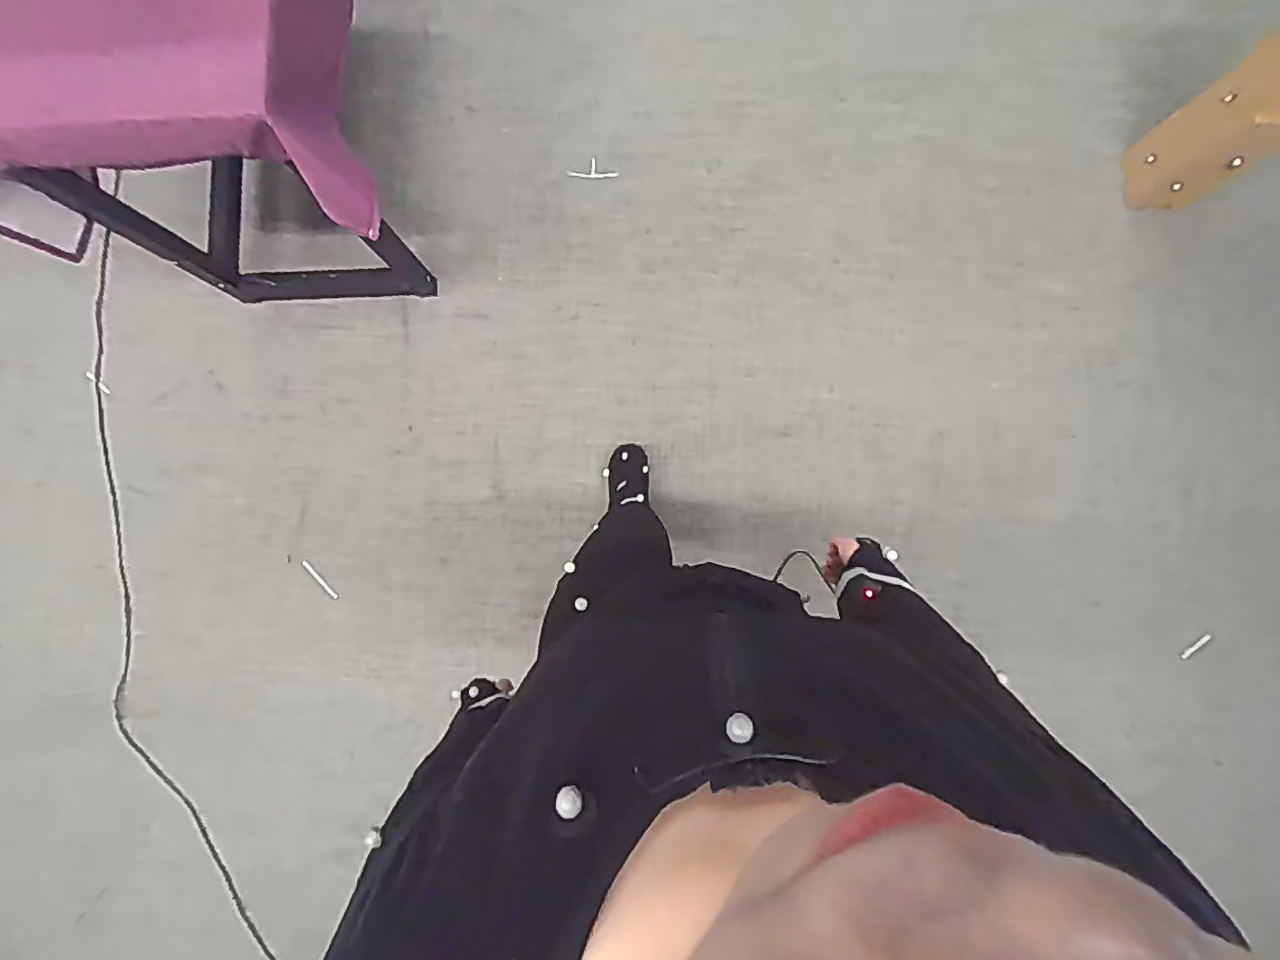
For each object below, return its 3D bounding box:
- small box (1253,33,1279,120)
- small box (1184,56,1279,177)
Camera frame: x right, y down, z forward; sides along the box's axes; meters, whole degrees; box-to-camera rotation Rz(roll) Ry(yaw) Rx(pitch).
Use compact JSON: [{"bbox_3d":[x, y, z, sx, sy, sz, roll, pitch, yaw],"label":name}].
[{"bbox_3d":[1.484,-0.905,1.155,0.168,0.176,0.179,8,85,2],"label":"small box"},{"bbox_3d":[1.486,-0.878,1.316,0.168,0.176,0.179,5,85,3],"label":"small box"}]
